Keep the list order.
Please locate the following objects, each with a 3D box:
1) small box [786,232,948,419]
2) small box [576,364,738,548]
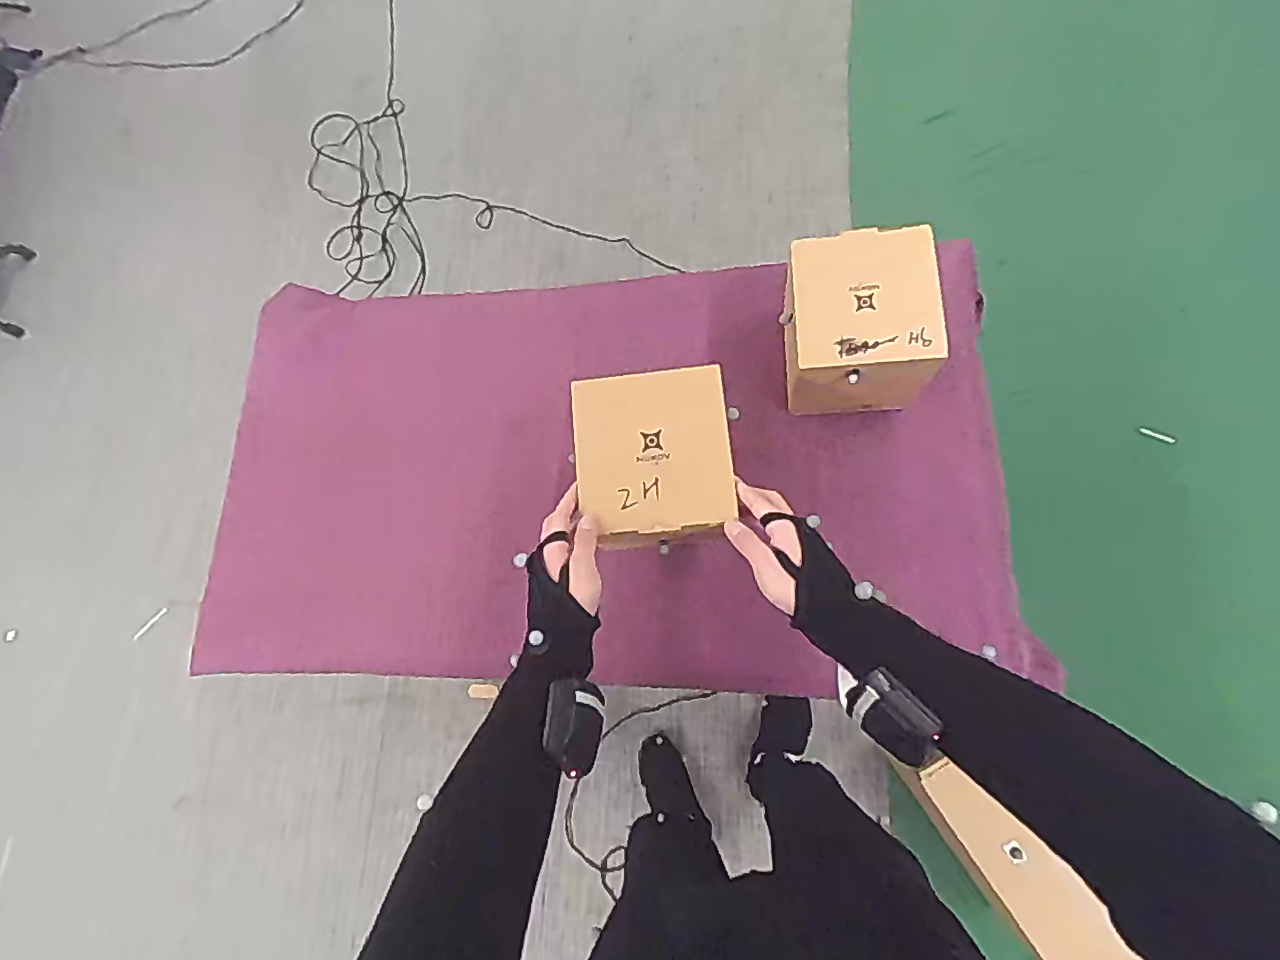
[{"bbox_3d":[0.287,-0.195,0.722,0.168,0.176,0.179,-2,76,12],"label":"small box"},{"bbox_3d":[0.022,-0.018,0.652,0.168,0.176,0.179,-6,77,5],"label":"small box"}]
